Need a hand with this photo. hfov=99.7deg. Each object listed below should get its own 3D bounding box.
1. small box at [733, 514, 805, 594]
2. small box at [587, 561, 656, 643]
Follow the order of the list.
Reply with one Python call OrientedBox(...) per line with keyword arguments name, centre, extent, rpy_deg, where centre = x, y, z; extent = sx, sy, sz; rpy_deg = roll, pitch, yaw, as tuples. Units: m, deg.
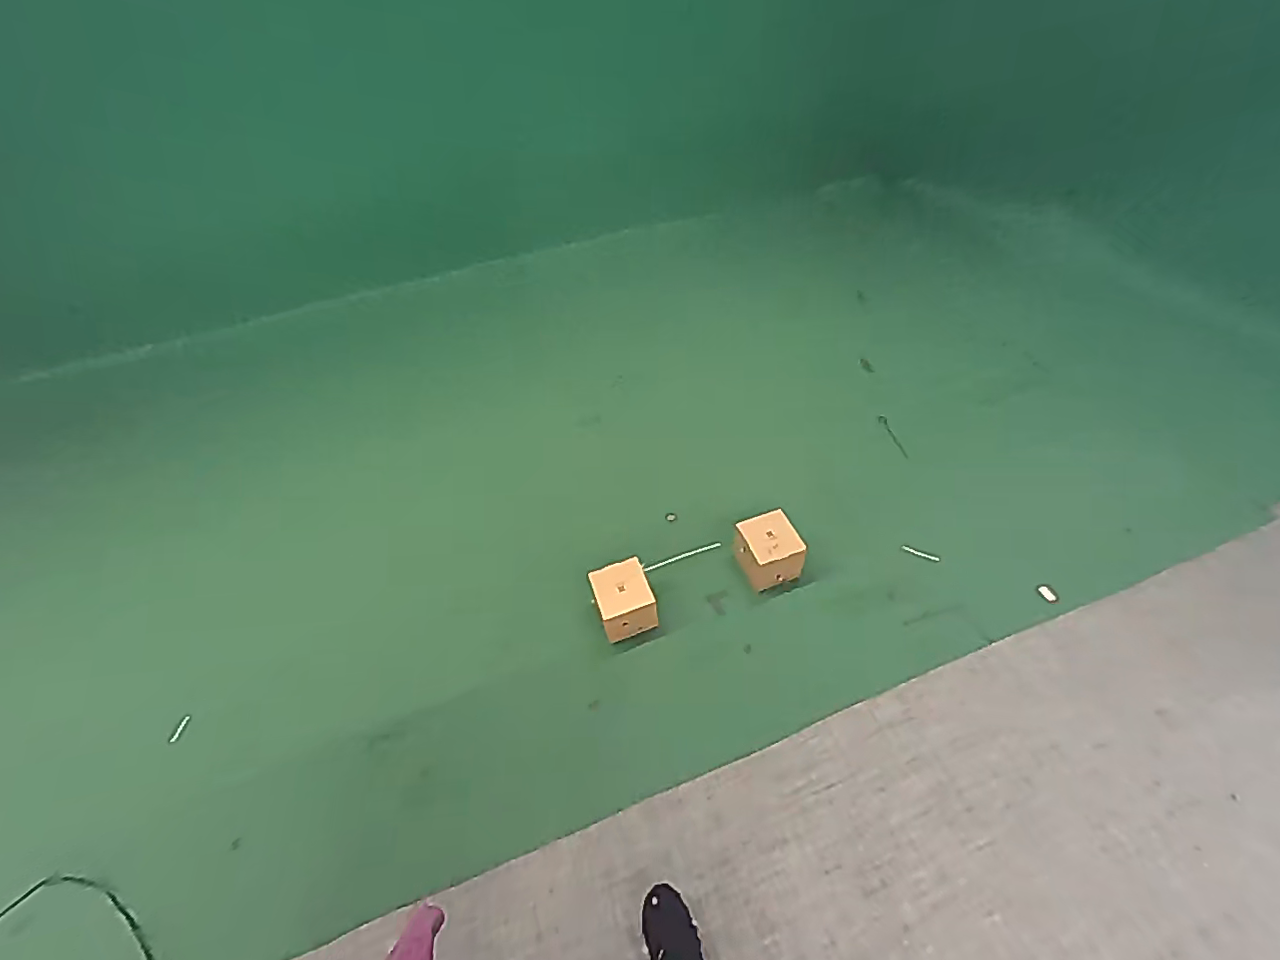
OrientedBox(name="small box", centre=(0.419, 0.246, 1.792), extent=(0.168, 0.176, 0.179), rpy_deg=(-17, 50, -10))
OrientedBox(name="small box", centre=(-0.055, 0.390, 1.704), extent=(0.168, 0.176, 0.179), rpy_deg=(-18, 49, -11))
